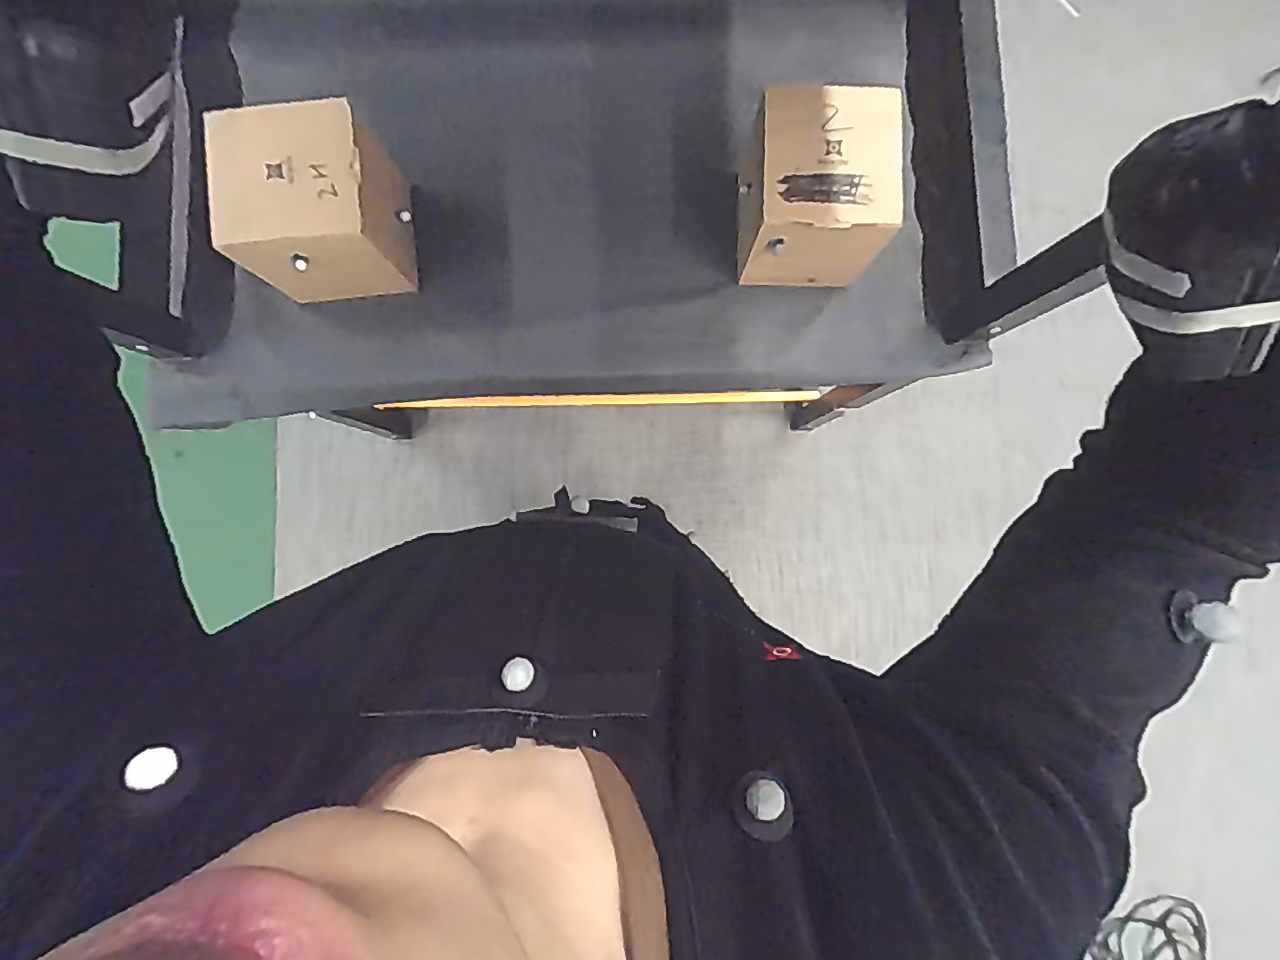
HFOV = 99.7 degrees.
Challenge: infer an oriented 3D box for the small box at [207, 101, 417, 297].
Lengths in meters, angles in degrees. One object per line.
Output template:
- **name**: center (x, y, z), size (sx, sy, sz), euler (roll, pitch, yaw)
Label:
- **small box**: center (-0.418, -0.355, 0.713), size (0.179, 0.176, 0.168), euler (-6, 87, -2)
